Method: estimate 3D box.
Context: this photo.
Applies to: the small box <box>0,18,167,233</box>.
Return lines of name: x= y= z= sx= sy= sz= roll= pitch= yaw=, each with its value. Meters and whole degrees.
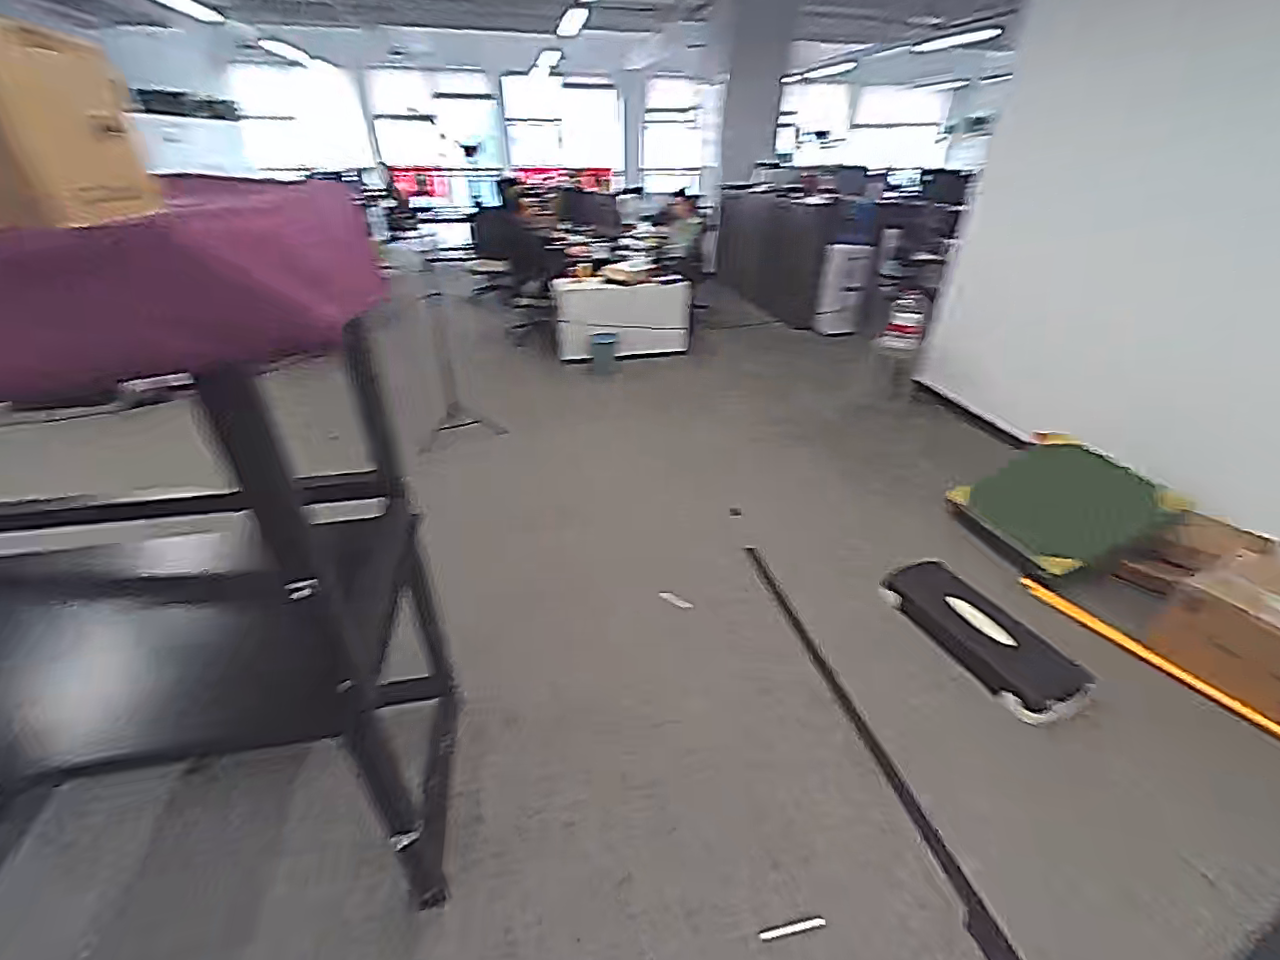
small box: x=-0.633 y=-0.340 z=0.532 sx=0.179 sy=0.176 sz=0.168 roll=-4 pitch=30 yaw=-5
